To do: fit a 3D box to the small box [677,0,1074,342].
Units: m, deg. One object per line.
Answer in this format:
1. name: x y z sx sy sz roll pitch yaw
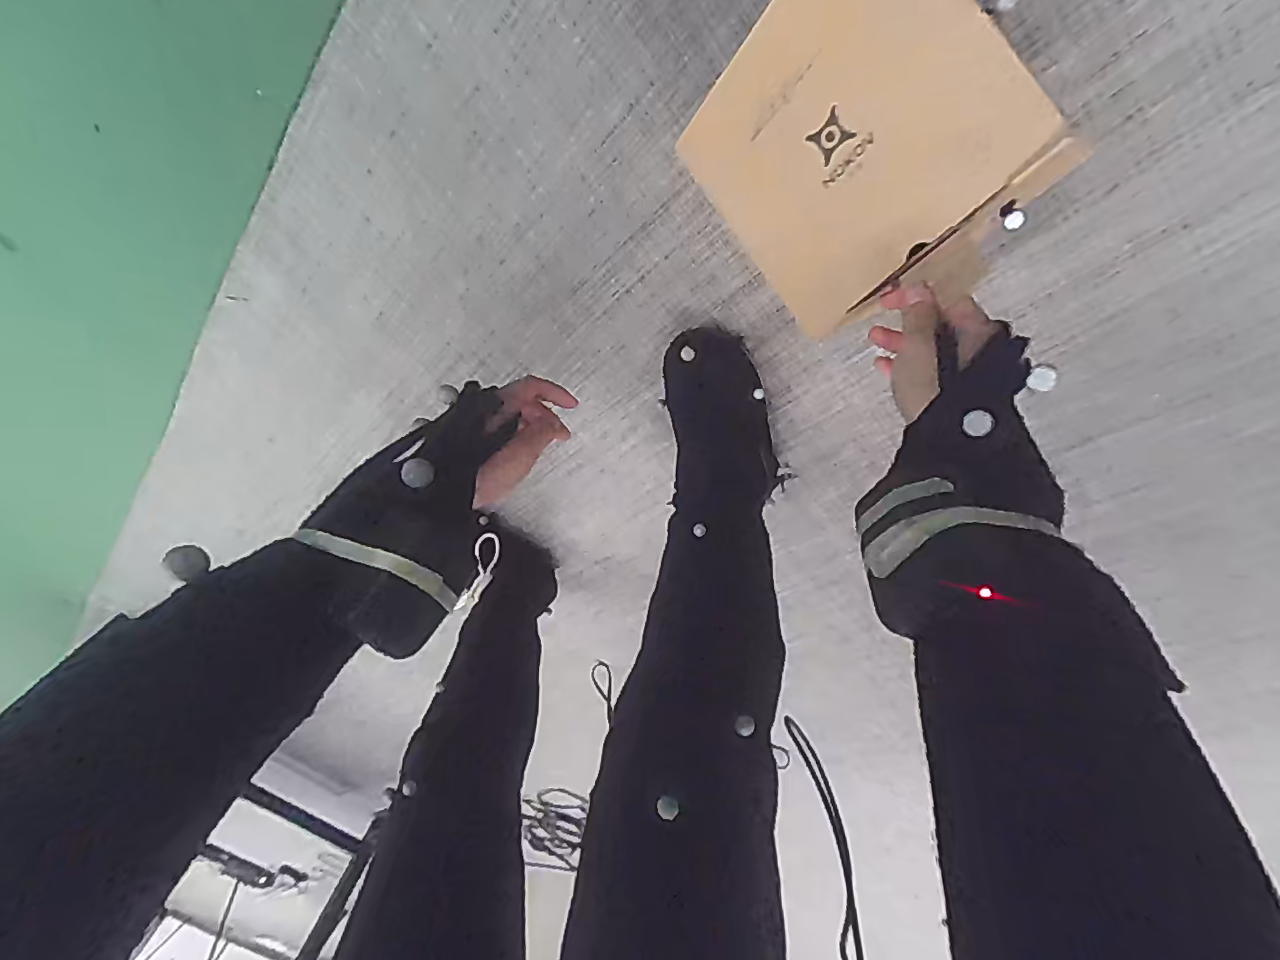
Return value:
1. small box: 0.167 -0.228 0.380 0.168 0.176 0.179 -38 84 44
